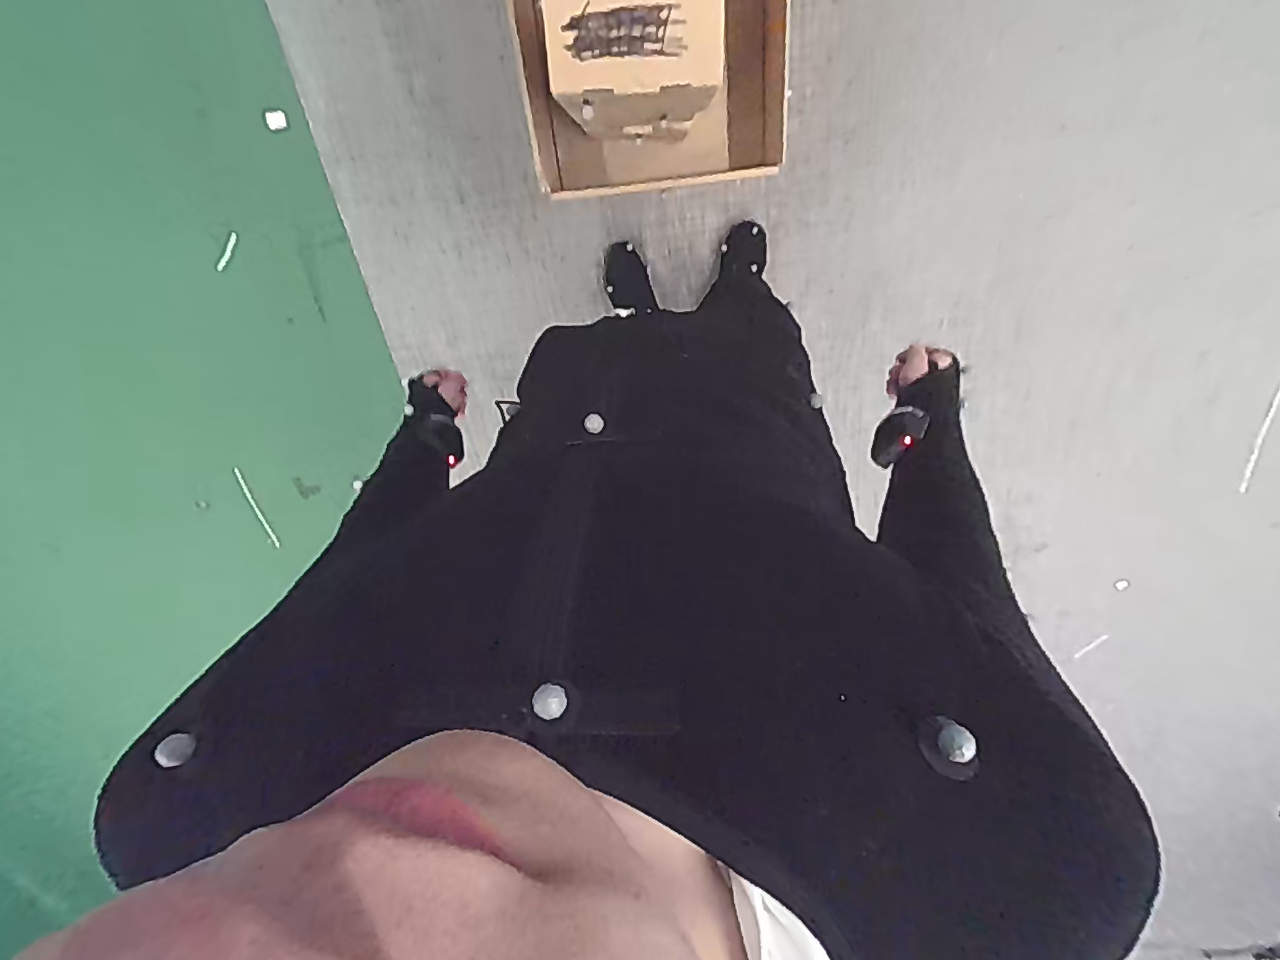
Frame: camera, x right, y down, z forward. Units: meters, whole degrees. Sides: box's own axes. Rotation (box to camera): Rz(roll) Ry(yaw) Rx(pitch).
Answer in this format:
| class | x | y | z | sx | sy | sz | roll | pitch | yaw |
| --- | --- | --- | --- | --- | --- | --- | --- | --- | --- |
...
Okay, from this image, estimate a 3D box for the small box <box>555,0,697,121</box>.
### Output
| class | x | y | z | sx | sy | sz | roll | pitch | yaw |
| --- | --- | --- | --- | --- | --- | --- | --- | --- | --- |
| small box | -0.014 | -0.571 | 0.692 | 0.168 | 0.176 | 0.179 | -2 | 117 | 1 |
